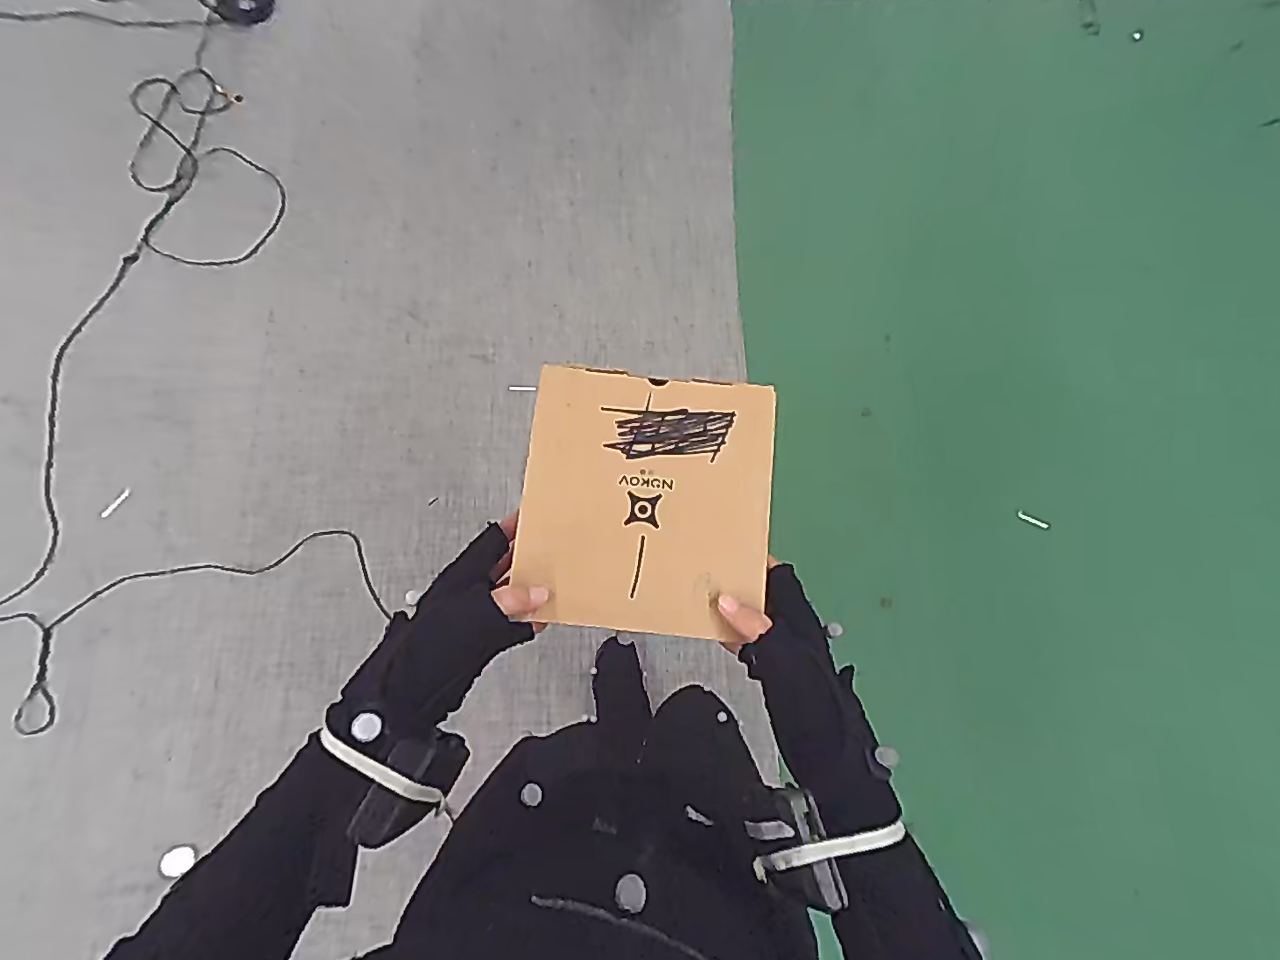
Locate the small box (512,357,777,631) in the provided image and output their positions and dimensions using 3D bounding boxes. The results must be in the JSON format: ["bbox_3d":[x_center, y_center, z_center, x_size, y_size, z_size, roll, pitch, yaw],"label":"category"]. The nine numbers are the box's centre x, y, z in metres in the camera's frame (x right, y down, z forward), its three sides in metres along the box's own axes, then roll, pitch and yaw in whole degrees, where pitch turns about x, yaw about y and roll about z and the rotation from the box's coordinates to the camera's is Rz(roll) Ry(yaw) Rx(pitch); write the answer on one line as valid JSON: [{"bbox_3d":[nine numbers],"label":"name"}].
[{"bbox_3d":[0.007,0.022,0.442,0.168,0.176,0.179,6,77,2],"label":"small box"}]
